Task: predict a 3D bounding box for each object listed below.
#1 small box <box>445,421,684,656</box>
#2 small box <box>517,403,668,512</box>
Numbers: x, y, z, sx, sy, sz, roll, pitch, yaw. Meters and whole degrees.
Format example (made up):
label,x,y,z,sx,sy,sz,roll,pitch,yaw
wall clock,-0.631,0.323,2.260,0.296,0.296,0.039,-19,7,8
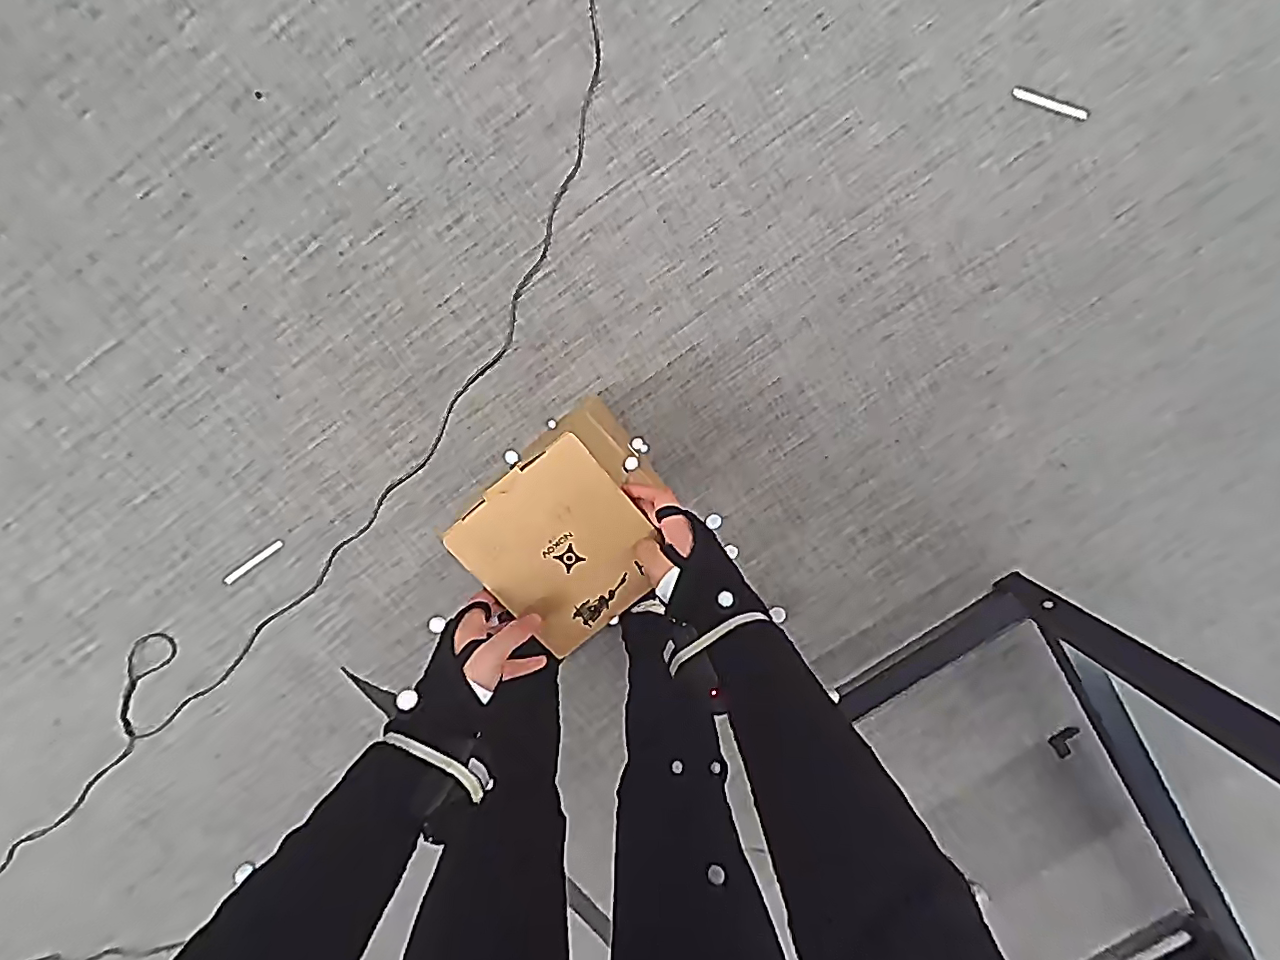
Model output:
label,x,y,z,sx,sy,sz,roll,pitch,yaw
small box,-0.076,0.048,0.600,0.168,0.176,0.179,-39,102,6
small box,-0.083,0.012,0.760,0.179,0.176,0.168,-41,103,6
